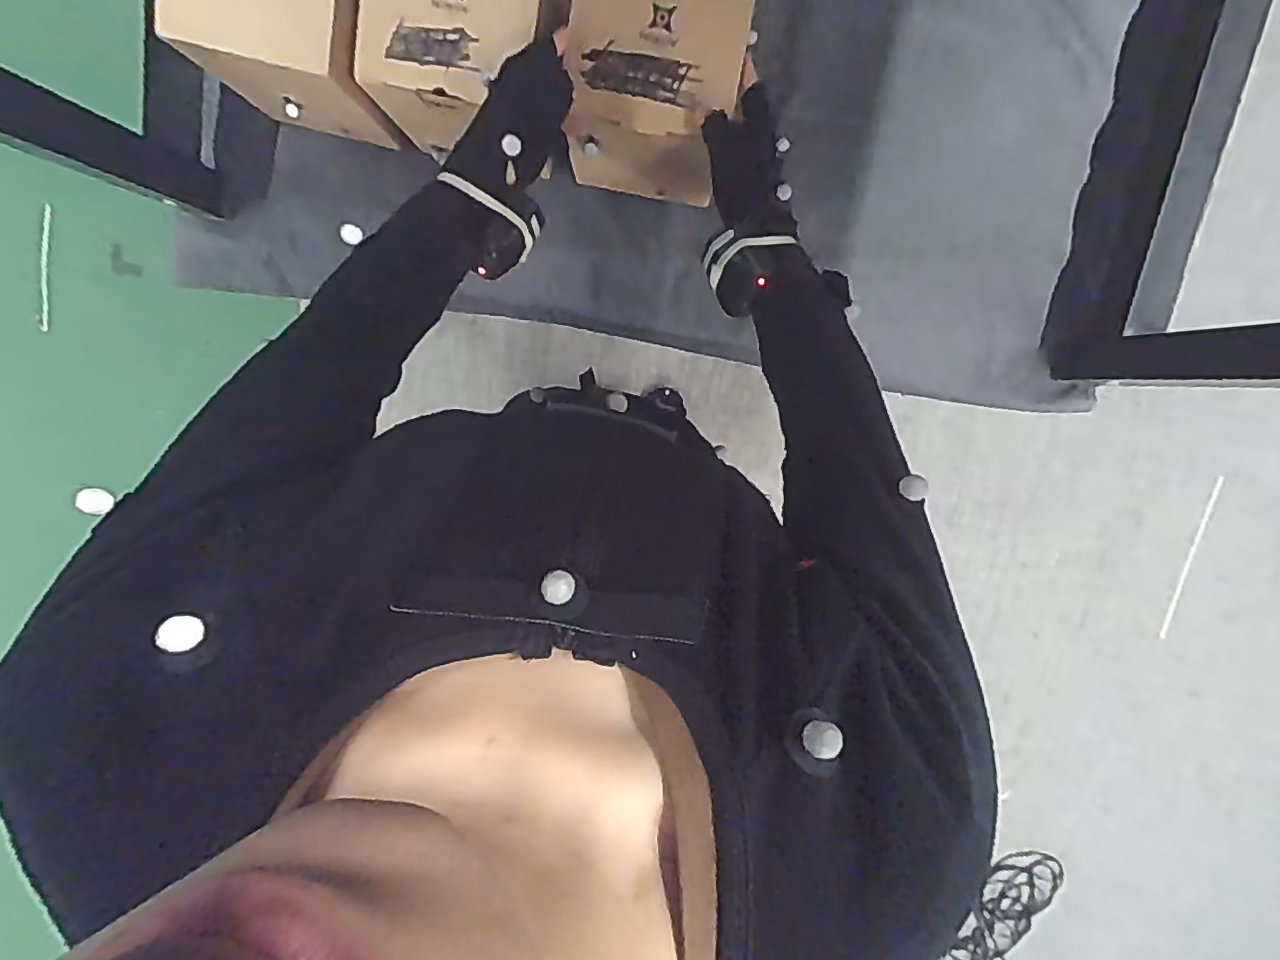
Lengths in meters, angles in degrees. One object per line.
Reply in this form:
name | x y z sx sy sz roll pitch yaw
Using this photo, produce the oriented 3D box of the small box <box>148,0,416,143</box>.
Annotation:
small box | -0.355 -0.491 0.565 0.168 0.176 0.179 13 100 -3
